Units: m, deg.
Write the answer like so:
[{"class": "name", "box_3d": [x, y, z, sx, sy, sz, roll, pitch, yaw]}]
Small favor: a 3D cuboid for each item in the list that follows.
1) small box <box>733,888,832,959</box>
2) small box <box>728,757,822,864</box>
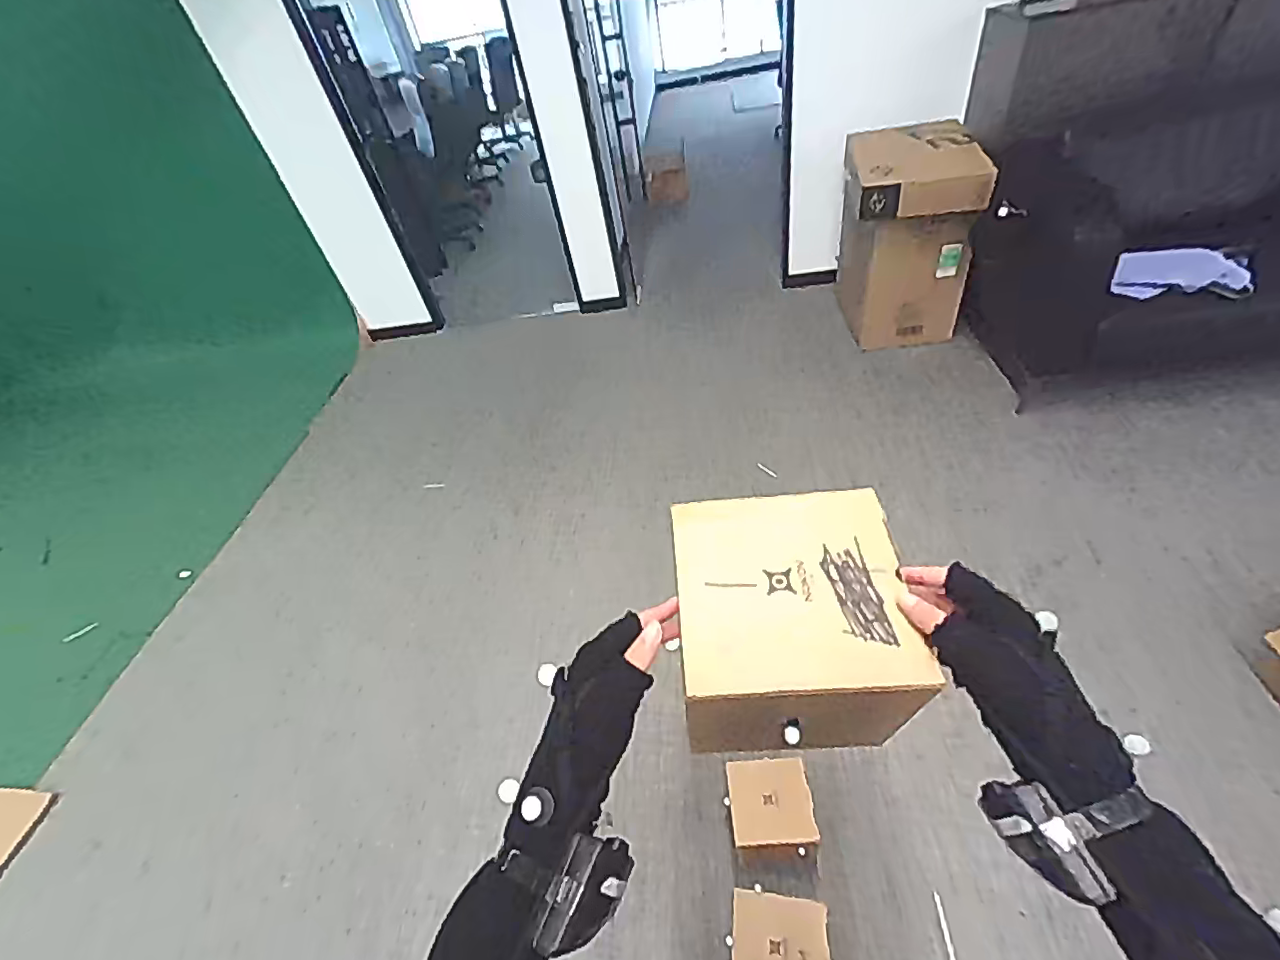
[{"class": "small box", "box_3d": [0.275, 0.917, 1.042, 0.179, 0.176, 0.168, 0, 45, 14]}, {"class": "small box", "box_3d": [0.301, 0.747, 1.217, 0.179, 0.176, 0.168, -7, 43, 6]}]
